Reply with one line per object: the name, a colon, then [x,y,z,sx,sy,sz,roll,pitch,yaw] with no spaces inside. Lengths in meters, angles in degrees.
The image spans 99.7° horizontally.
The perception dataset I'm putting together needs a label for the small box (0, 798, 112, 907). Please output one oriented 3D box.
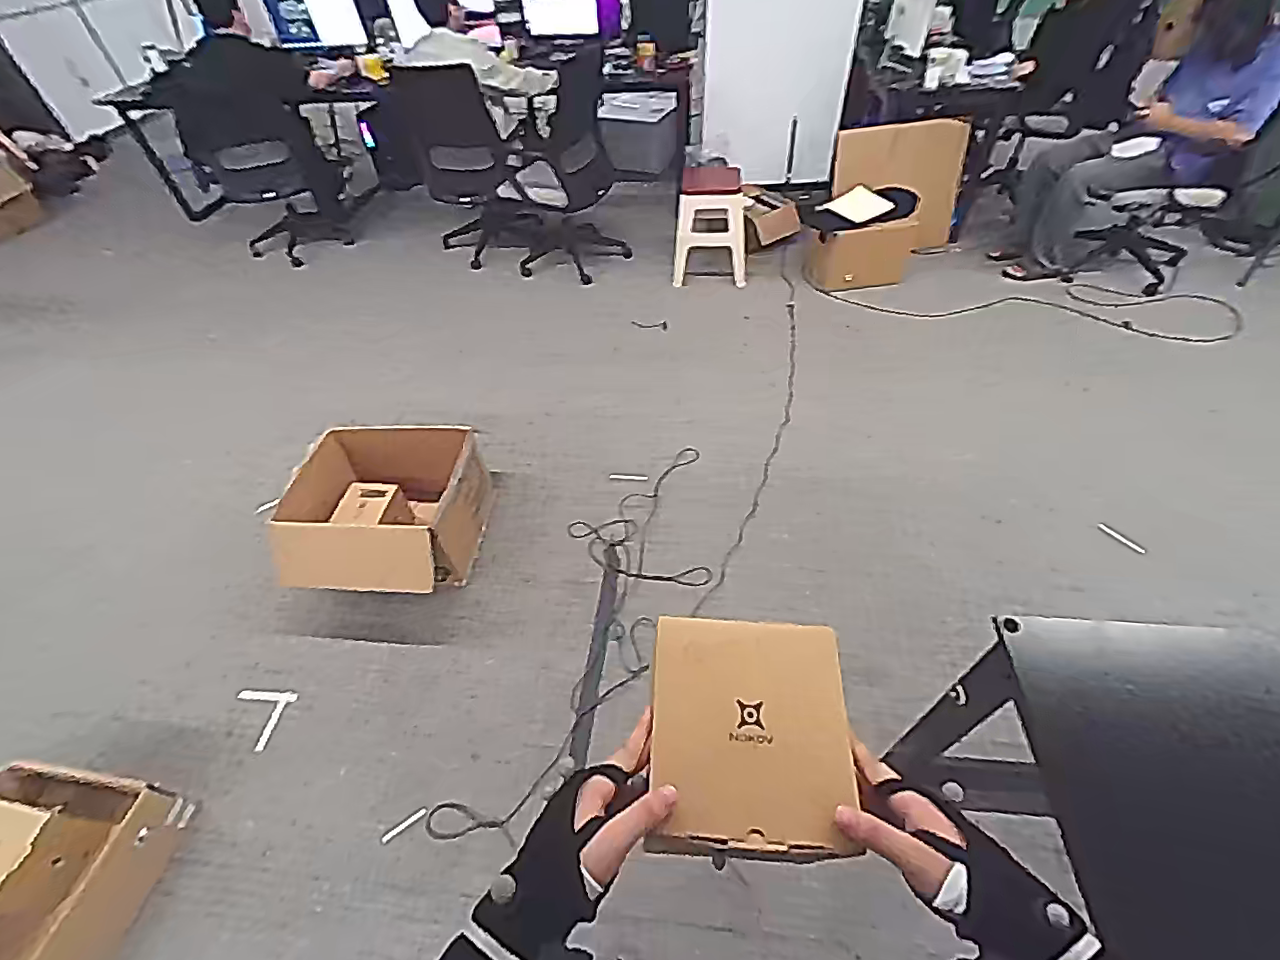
small box: [-1.361,0.831,1.203,0.179,0.176,0.168,7,50,8]
